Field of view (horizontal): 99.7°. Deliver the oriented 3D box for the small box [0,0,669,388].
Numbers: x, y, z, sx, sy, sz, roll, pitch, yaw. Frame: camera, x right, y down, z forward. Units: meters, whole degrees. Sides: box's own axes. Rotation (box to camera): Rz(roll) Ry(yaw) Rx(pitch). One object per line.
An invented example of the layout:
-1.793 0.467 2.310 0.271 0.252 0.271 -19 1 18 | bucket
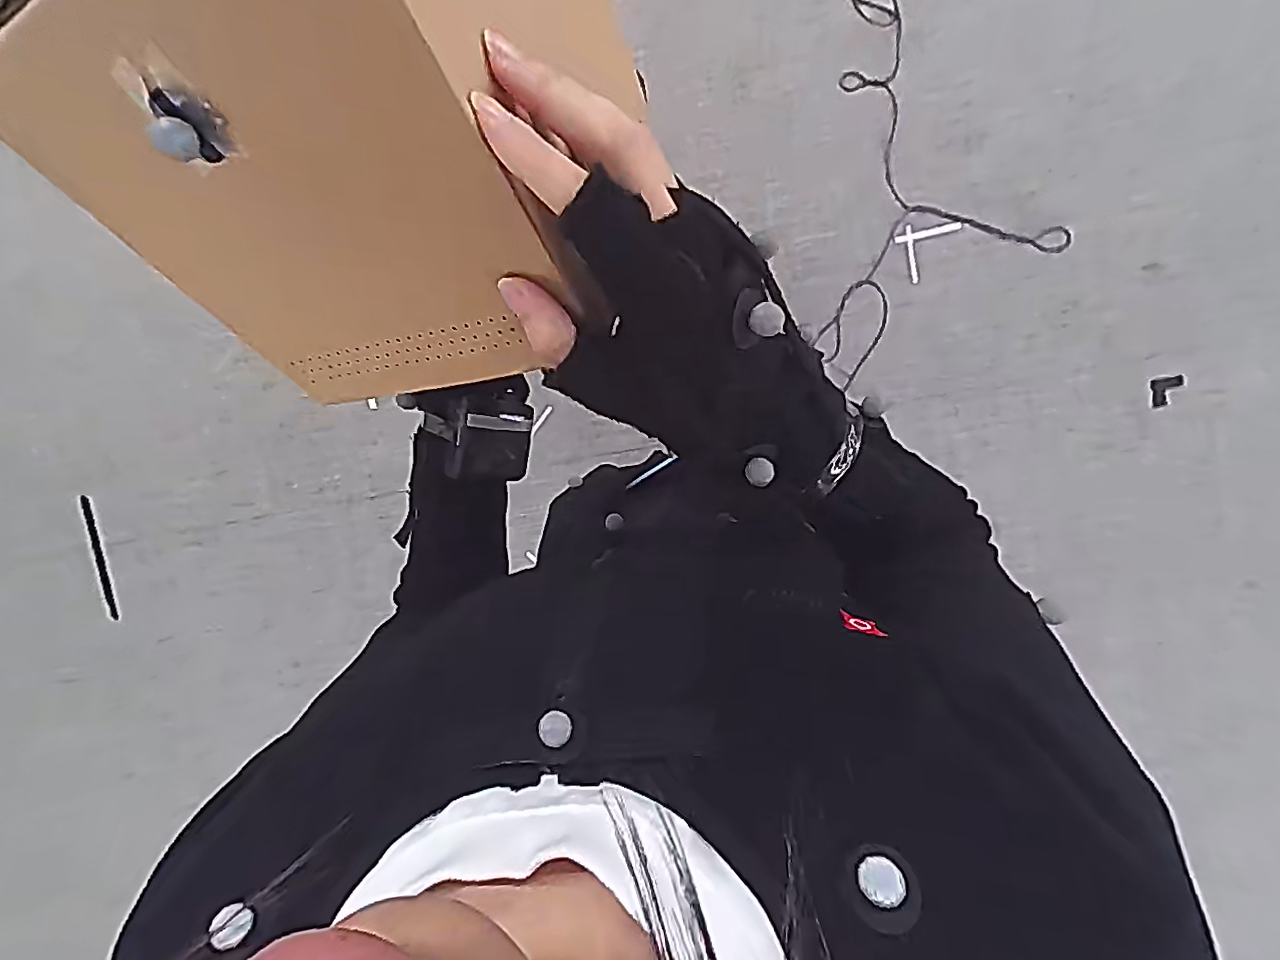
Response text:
-0.104 -0.160 0.249 0.179 0.176 0.168 -4 56 24 | small box
